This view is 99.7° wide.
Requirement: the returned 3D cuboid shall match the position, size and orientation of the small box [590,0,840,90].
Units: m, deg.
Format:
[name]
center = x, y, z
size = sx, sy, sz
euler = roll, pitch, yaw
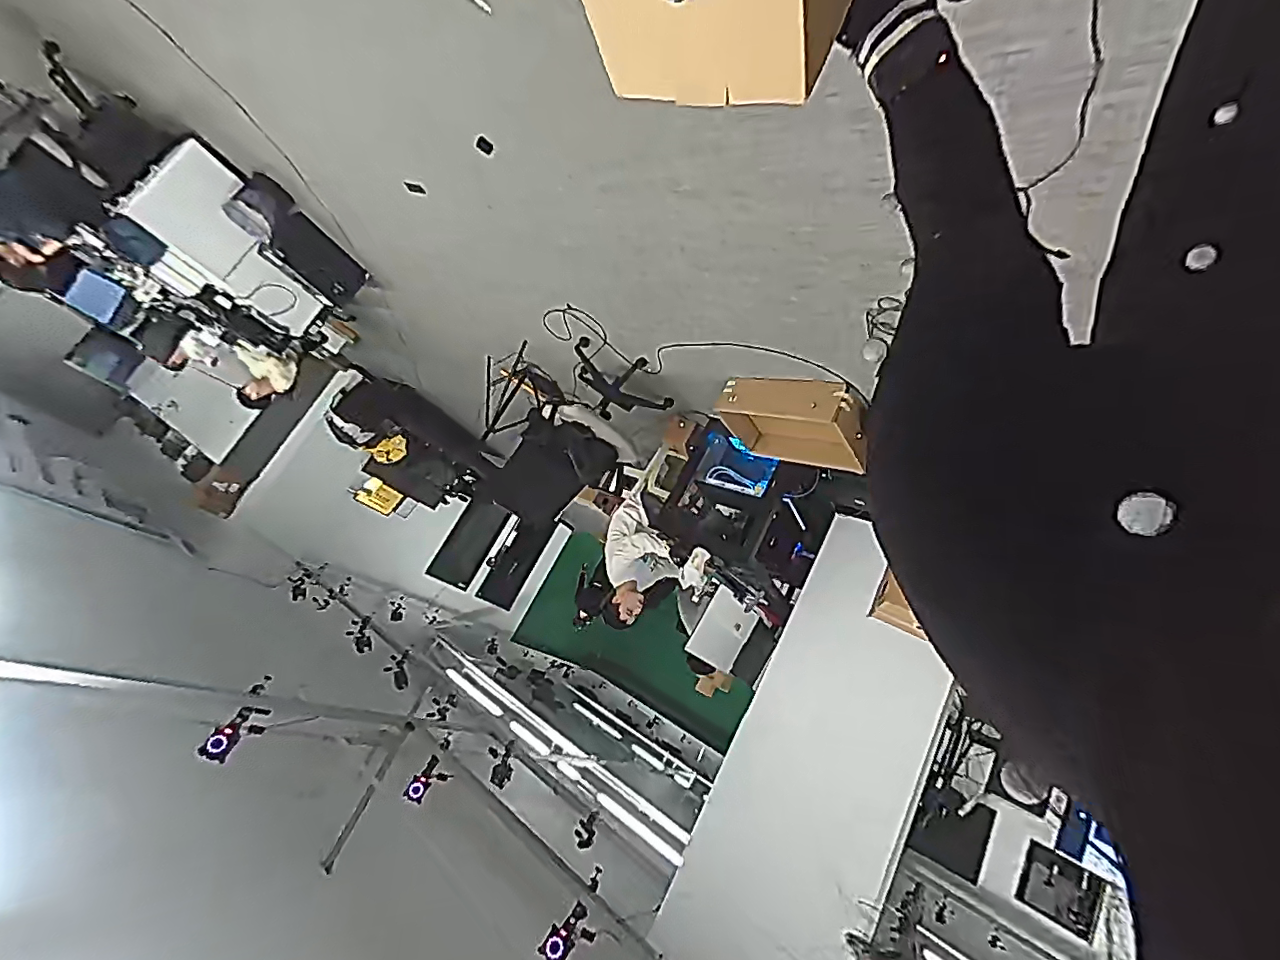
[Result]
[small box]
center = 0.053, -0.403, 0.356
size = 0.168, 0.179, 0.176
euler = 20, 170, 22
